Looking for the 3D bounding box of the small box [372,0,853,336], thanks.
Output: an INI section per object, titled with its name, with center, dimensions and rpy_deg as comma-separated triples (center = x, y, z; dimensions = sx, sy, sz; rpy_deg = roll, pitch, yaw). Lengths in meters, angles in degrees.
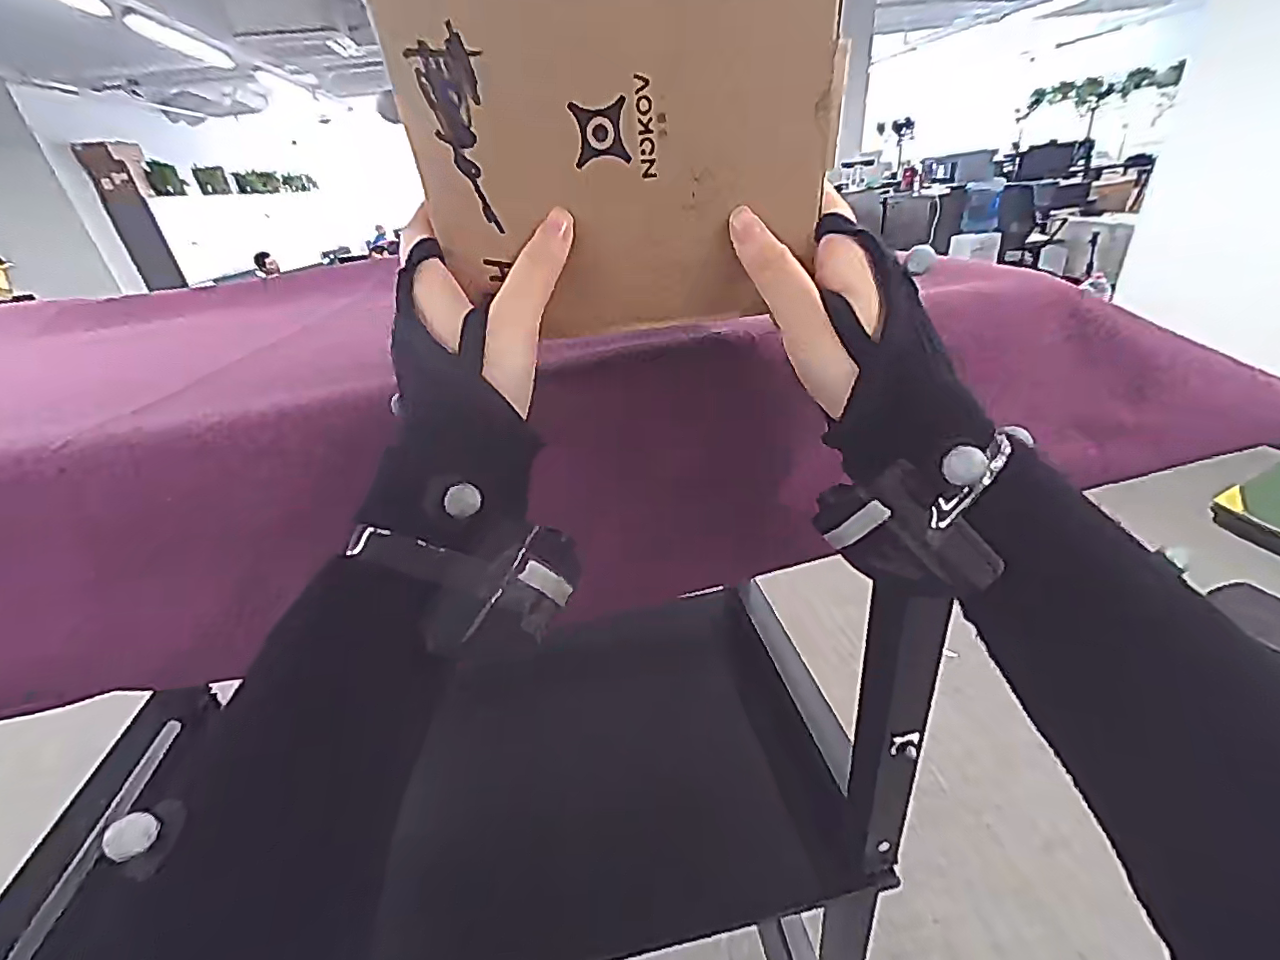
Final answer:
[small box]
center = -0.012, -0.191, 0.279
dimensions = 0.179, 0.168, 0.176
rpy_deg = -7, 36, -1
